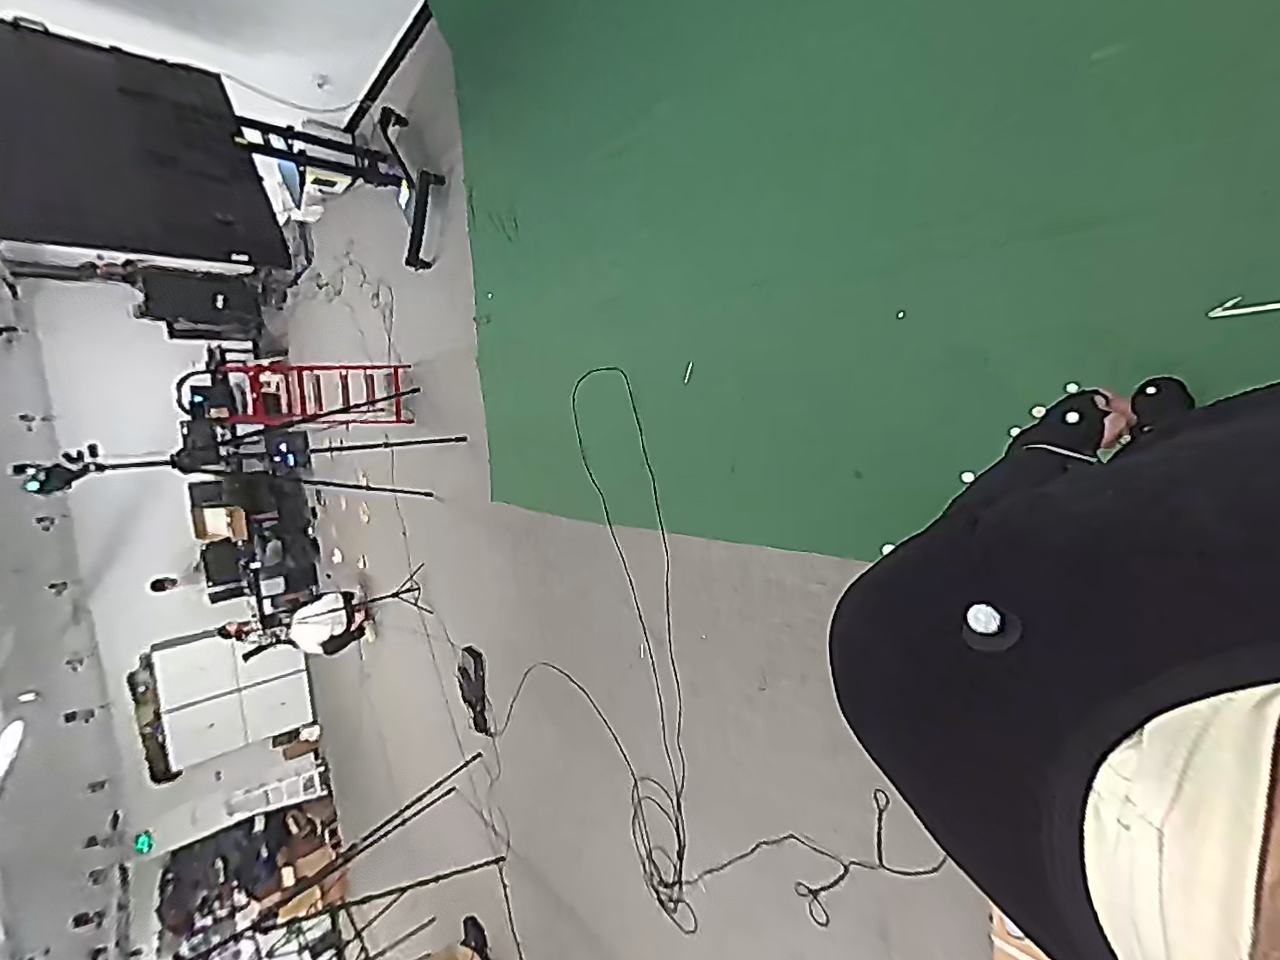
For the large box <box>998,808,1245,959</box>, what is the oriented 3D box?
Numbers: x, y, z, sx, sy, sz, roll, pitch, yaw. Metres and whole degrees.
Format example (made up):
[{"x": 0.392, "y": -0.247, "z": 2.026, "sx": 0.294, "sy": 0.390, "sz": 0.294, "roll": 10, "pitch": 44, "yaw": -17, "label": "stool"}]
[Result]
[{"x": 1.115, "y": 1.069, "z": 1.270, "sx": 0.408, "sy": 0.320, "sz": 0.320, "roll": 1, "pitch": 99, "yaw": 46, "label": "large box"}]
